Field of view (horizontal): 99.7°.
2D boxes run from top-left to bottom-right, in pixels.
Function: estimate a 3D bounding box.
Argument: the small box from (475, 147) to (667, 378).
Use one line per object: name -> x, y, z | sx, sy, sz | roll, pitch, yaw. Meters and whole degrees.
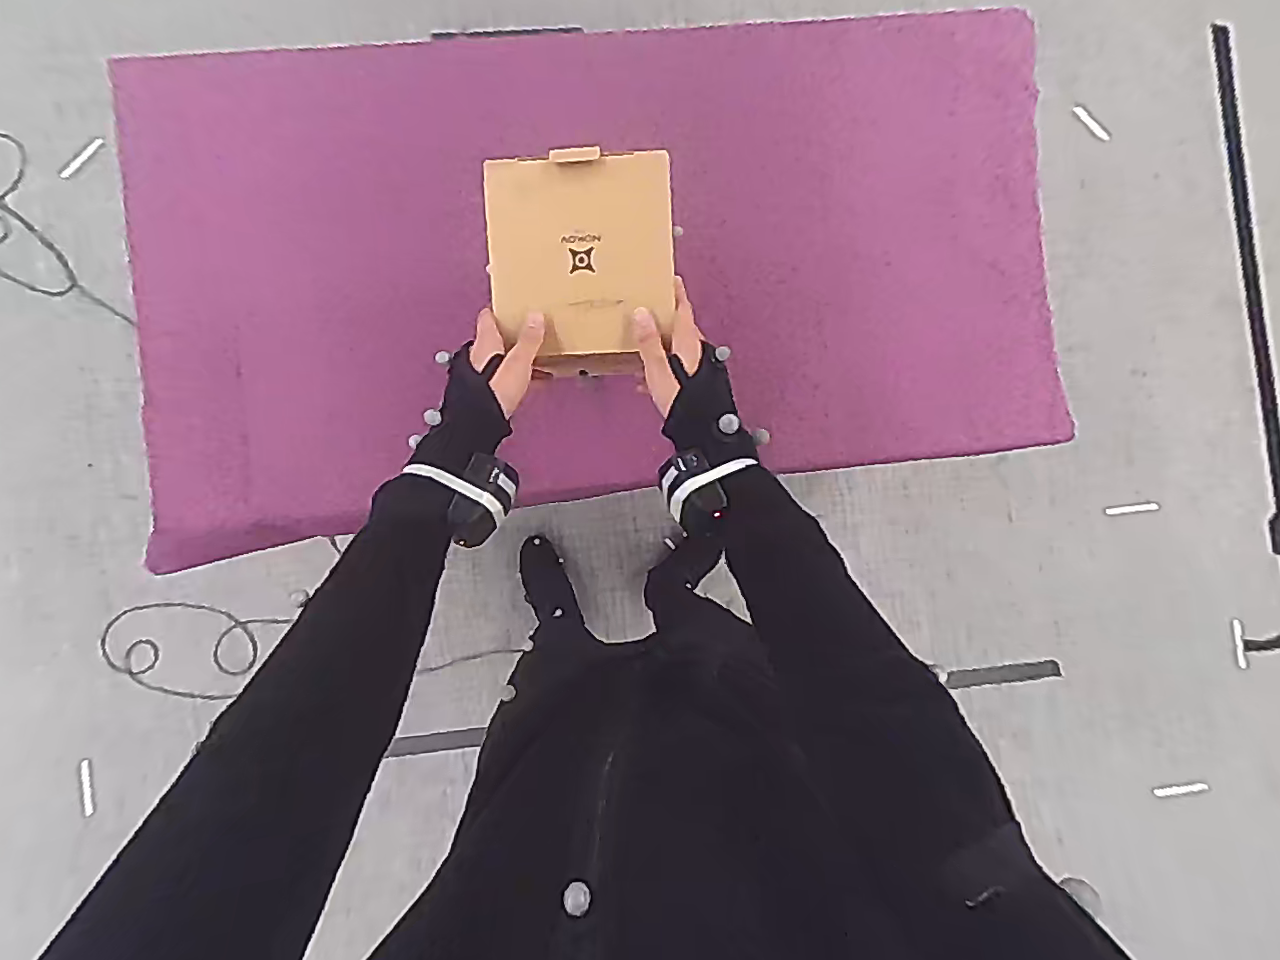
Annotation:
small box -> -0.060, -0.204, 0.551 | 0.168, 0.176, 0.179 | -2, 94, 0
